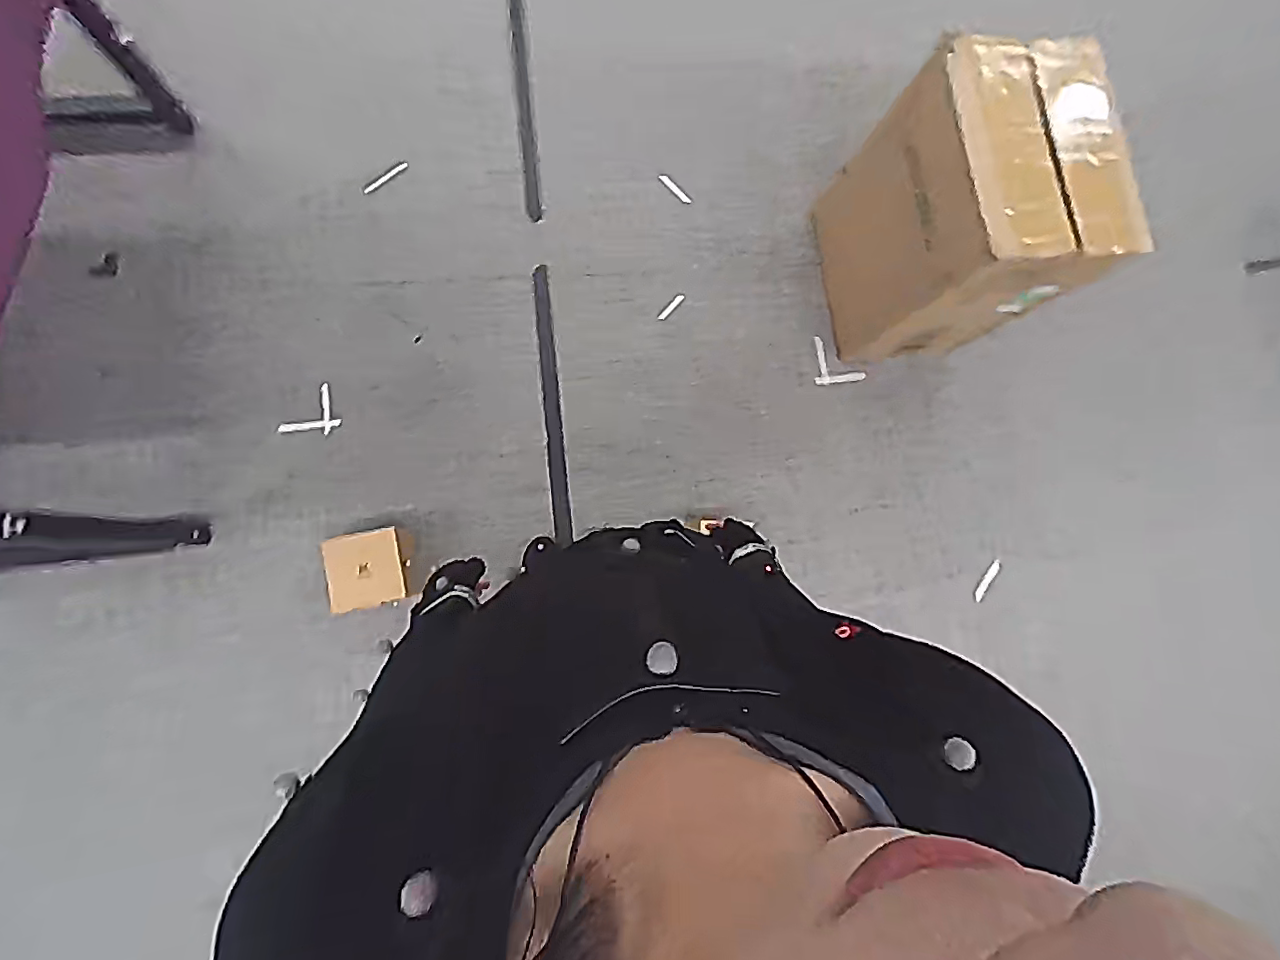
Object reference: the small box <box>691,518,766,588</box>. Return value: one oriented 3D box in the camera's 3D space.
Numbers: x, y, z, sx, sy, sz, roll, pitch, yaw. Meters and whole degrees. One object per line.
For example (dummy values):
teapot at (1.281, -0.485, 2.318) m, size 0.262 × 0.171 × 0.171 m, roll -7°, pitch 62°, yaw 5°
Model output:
small box at (0.240, 0.201, 1.495) m, size 0.168 × 0.176 × 0.179 m, roll 4°, pitch 83°, yaw -8°

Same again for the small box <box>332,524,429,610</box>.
small box at (-0.646, 0.216, 1.363) m, size 0.168 × 0.176 × 0.179 m, roll -12°, pitch 84°, yaw -11°
